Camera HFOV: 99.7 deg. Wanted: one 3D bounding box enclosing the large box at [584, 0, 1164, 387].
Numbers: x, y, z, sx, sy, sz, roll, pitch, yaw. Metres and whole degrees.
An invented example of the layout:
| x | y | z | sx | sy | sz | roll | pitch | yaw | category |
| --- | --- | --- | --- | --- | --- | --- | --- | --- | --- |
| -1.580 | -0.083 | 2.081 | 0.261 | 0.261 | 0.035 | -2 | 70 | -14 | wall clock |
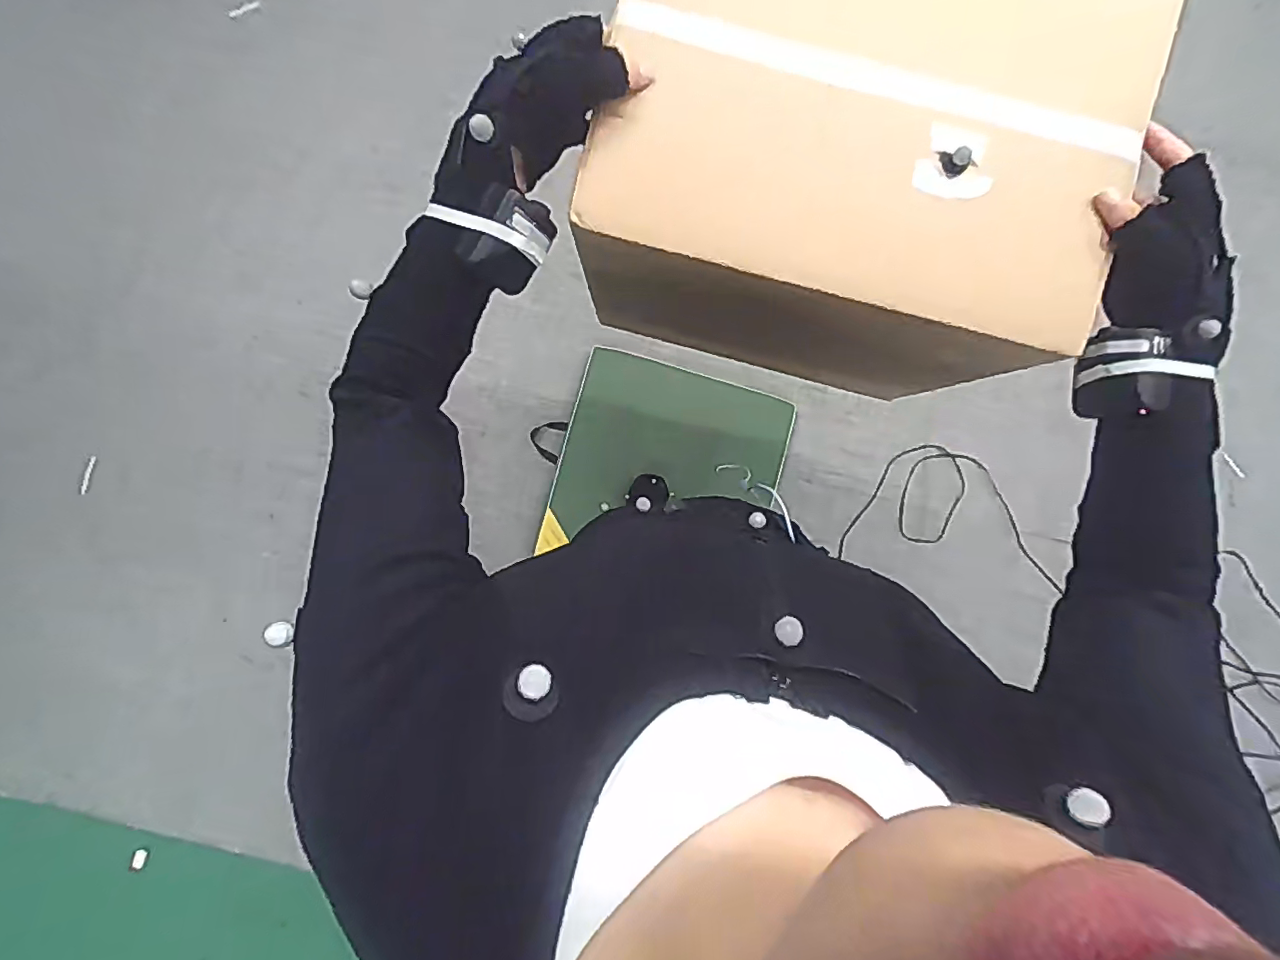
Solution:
| x | y | z | sx | sy | sz | roll | pitch | yaw | category |
| --- | --- | --- | --- | --- | --- | --- | --- | --- | --- |
| 0.177 | -0.308 | 0.560 | 0.408 | 0.320 | 0.320 | 14 | 92 | -2 | large box |
